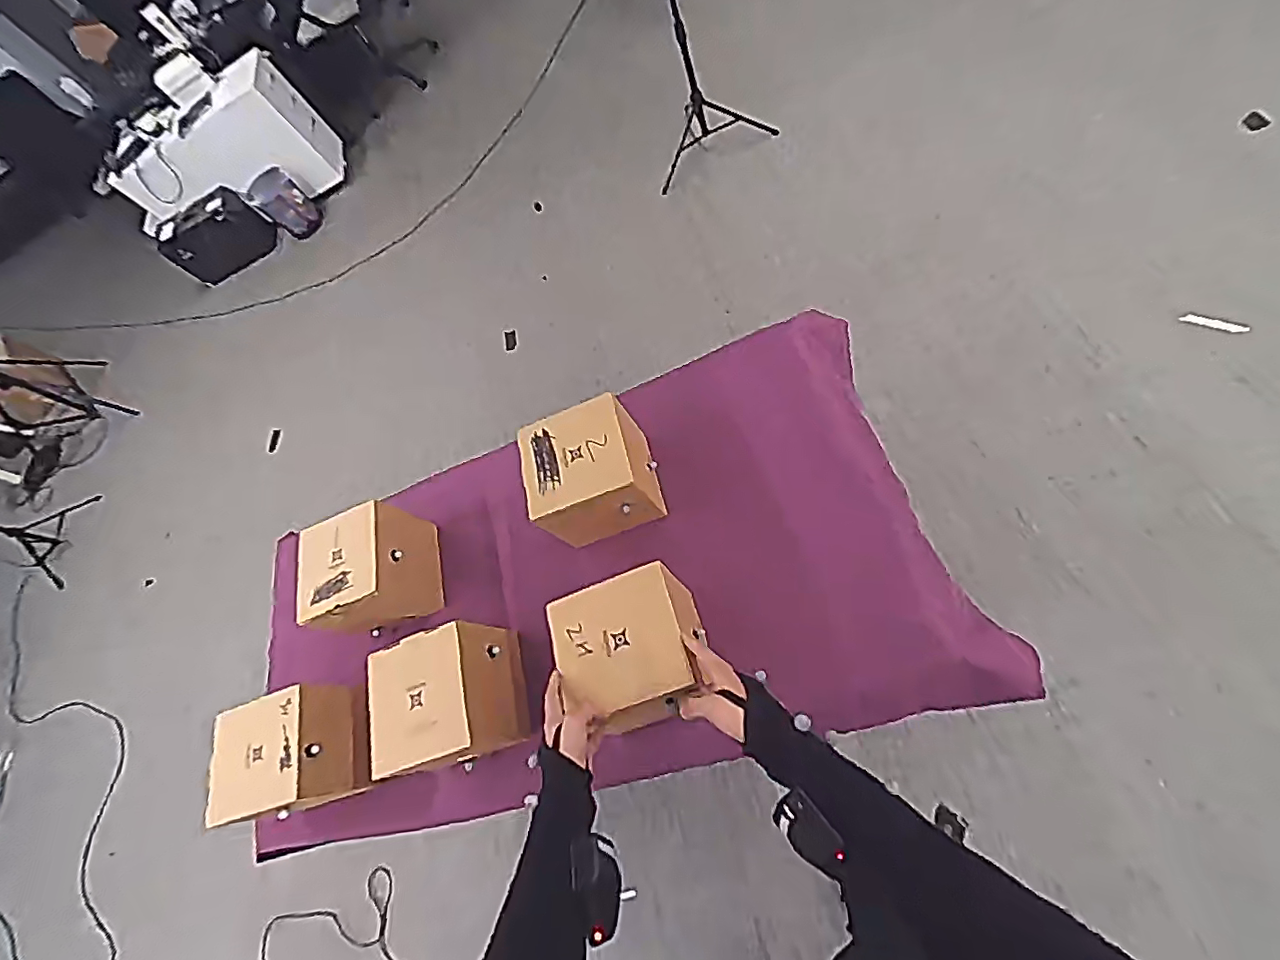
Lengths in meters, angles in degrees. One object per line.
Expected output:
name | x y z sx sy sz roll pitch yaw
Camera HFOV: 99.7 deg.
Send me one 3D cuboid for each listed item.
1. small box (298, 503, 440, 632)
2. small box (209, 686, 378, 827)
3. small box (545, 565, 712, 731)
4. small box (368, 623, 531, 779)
small box | -0.489 0.171 0.992 0.168 0.176 0.179 -23 62 11
small box | -0.561 0.453 0.900 0.179 0.176 0.168 -22 63 12
small box | -0.008 0.243 0.764 0.179 0.176 0.168 -23 58 10
small box | -0.292 0.342 0.844 0.168 0.176 0.179 -23 64 12
